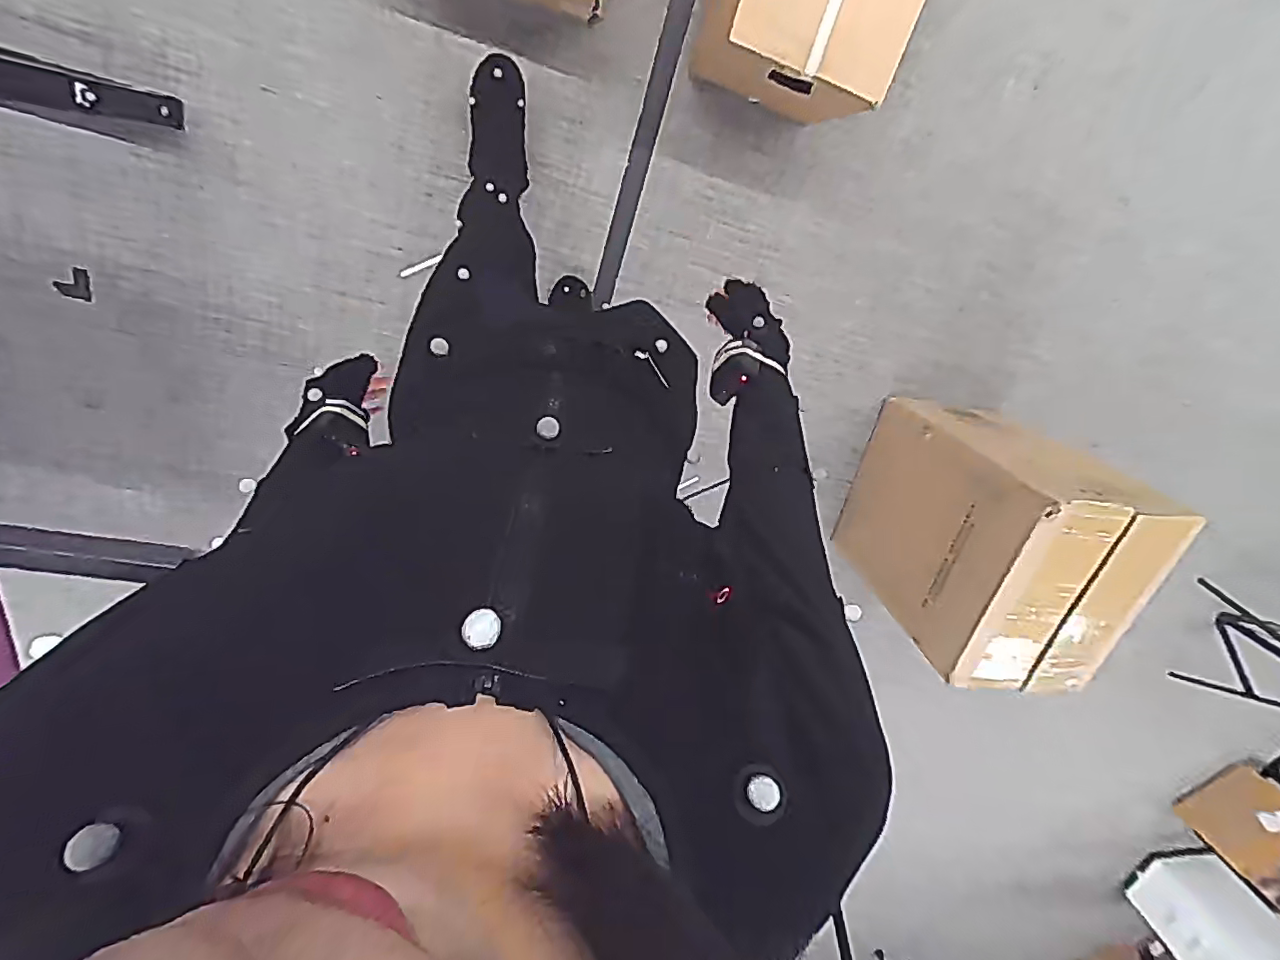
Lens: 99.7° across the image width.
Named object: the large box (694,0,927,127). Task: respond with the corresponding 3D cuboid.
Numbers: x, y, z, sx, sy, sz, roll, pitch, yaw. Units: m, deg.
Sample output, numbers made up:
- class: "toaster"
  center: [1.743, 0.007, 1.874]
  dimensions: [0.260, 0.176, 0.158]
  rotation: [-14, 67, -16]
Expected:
- class: "large box"
  center: [0.332, -0.943, 1.000]
  dimensions: [0.320, 0.320, 0.408]
  rotation: [12, 116, -14]
